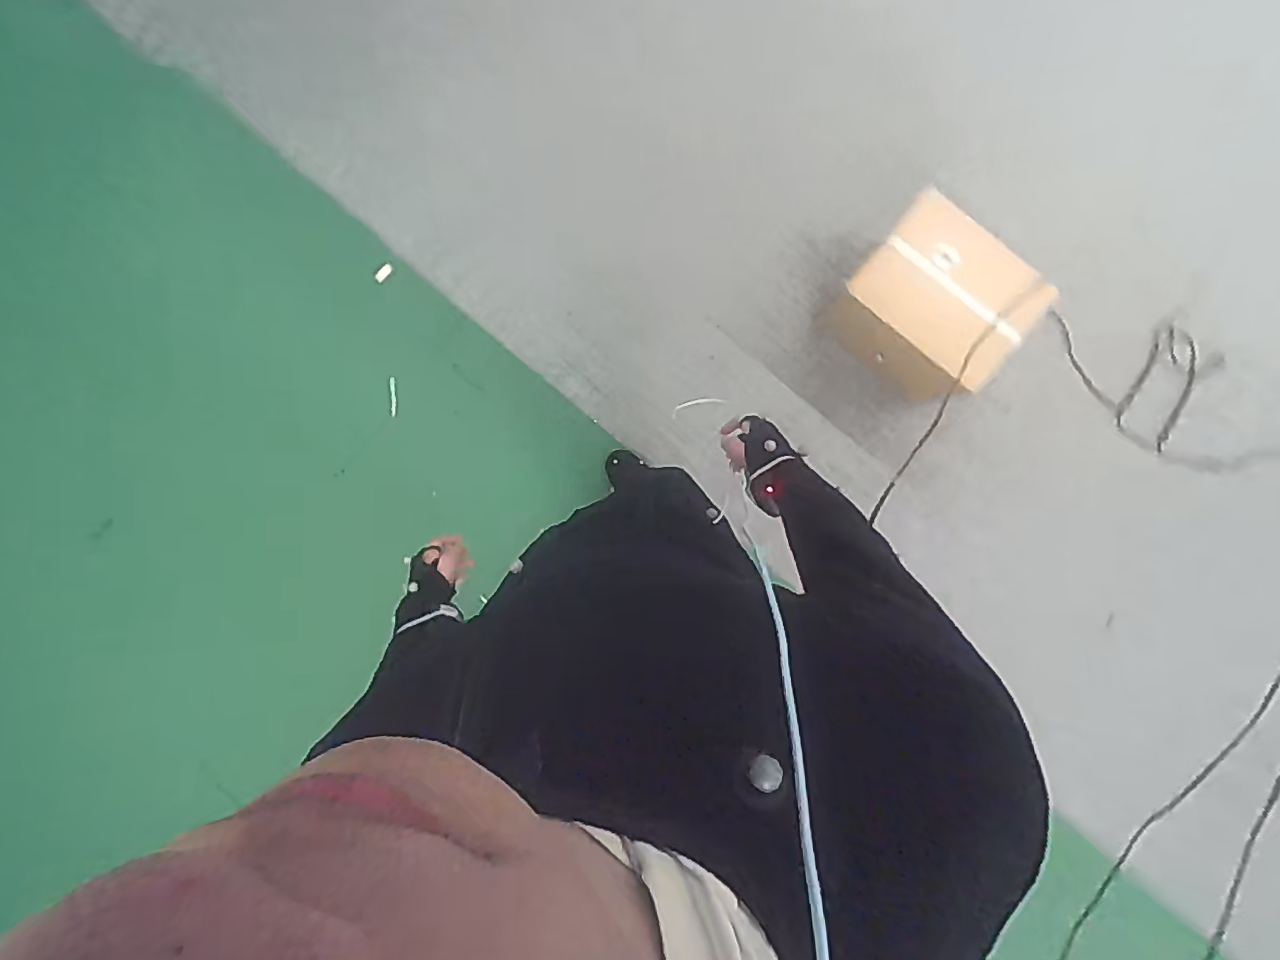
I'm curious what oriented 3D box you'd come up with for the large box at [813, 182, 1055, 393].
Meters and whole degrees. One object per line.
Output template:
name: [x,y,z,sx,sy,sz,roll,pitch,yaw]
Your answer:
large box: [0.745,-0.481,1.440,0.408,0.320,0.320,38,93,2]
